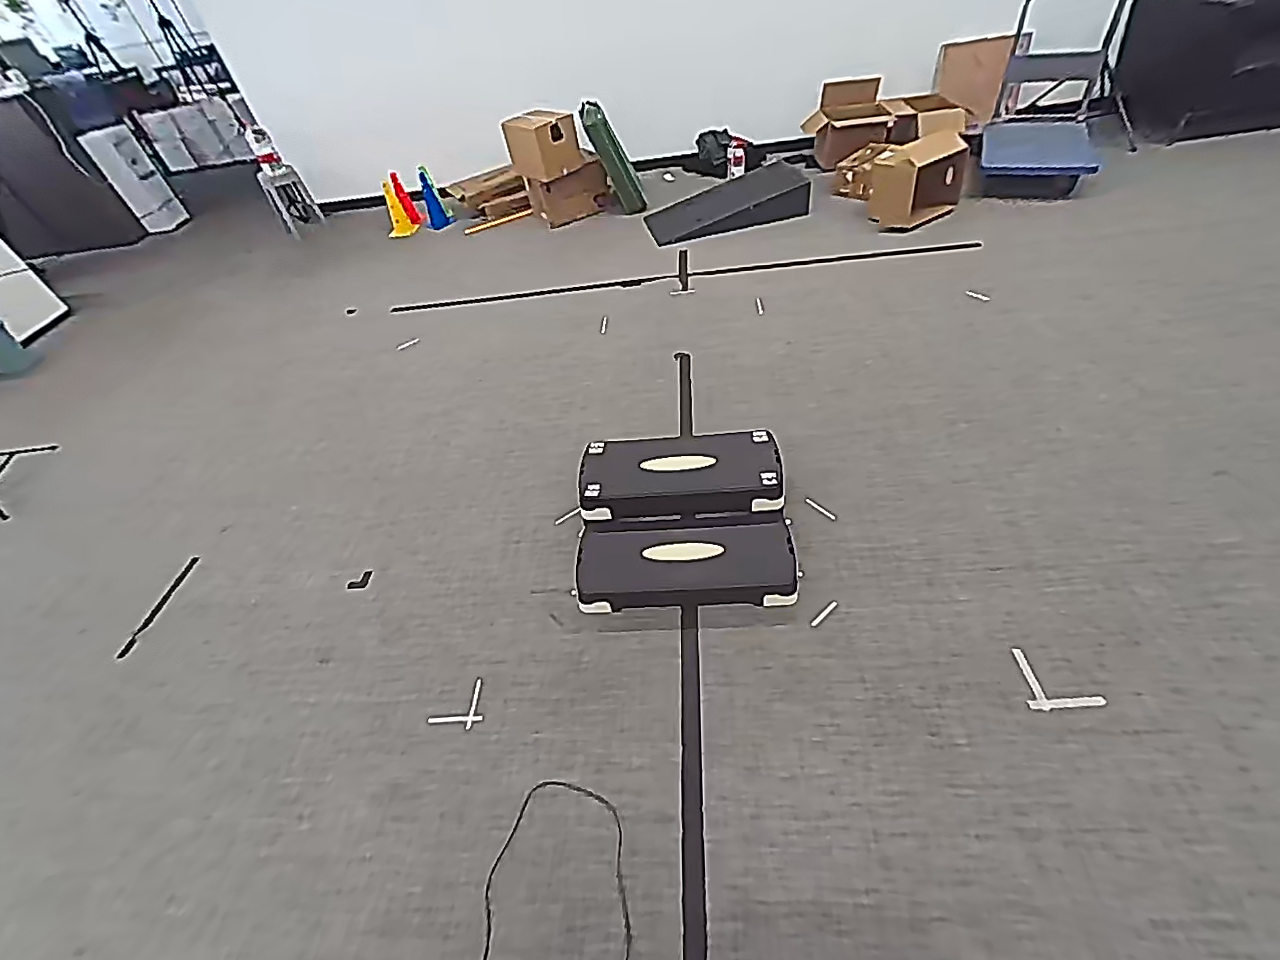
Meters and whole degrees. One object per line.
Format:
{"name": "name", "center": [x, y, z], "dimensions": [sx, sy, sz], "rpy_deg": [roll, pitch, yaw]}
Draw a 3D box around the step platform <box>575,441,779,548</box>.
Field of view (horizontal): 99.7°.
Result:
{"name": "step platform", "center": [0.120, 0.045, 1.838], "dimensions": [0.684, 0.204, 0.286], "rpy_deg": [-4, 46, 5]}
